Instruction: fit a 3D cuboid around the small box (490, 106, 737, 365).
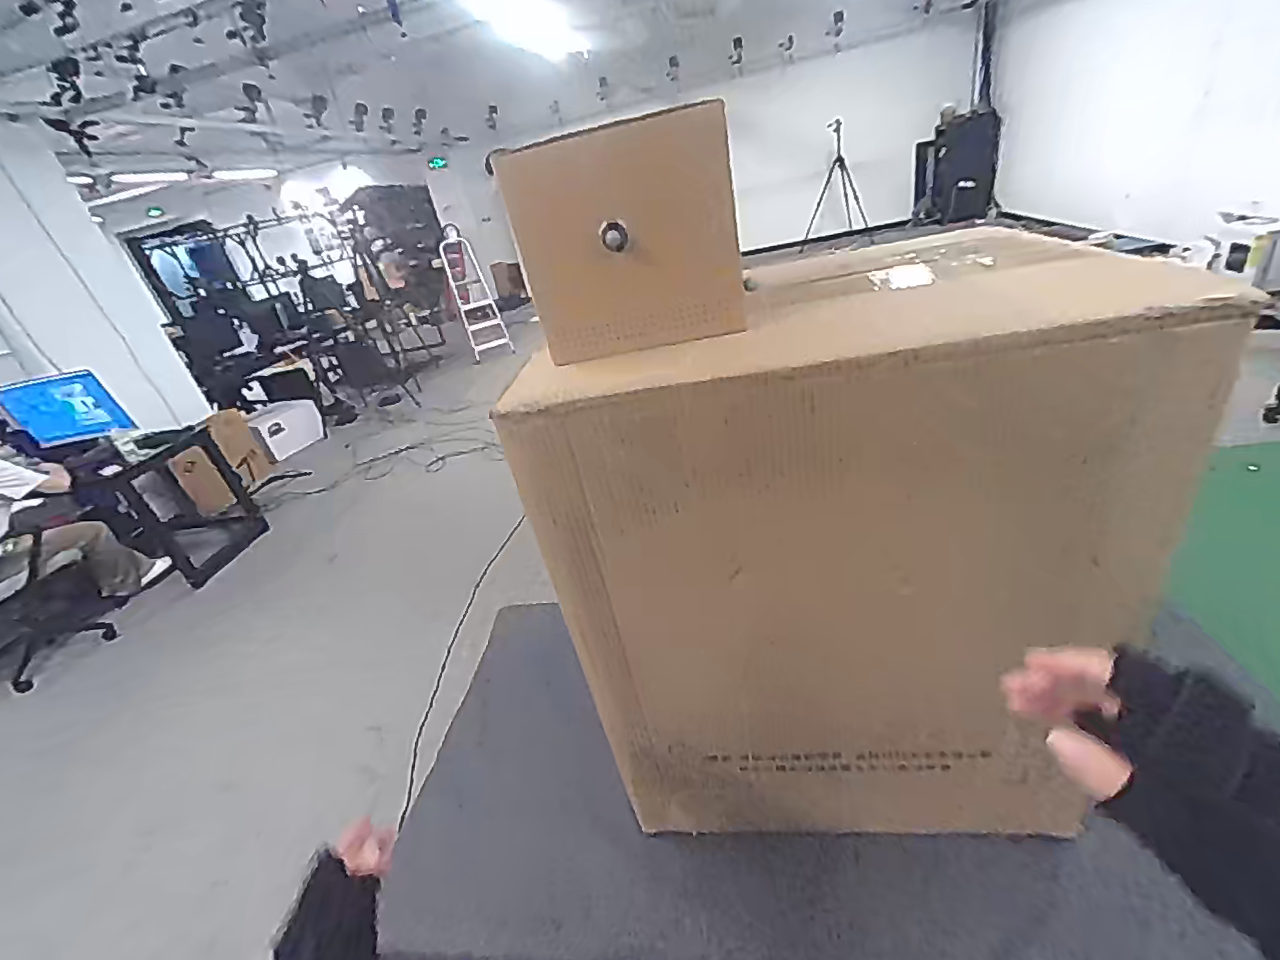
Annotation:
[{"bbox_3d":[-0.007,-0.224,0.501,0.179,0.176,0.168,-9,31,10],"label":"small box"}]
